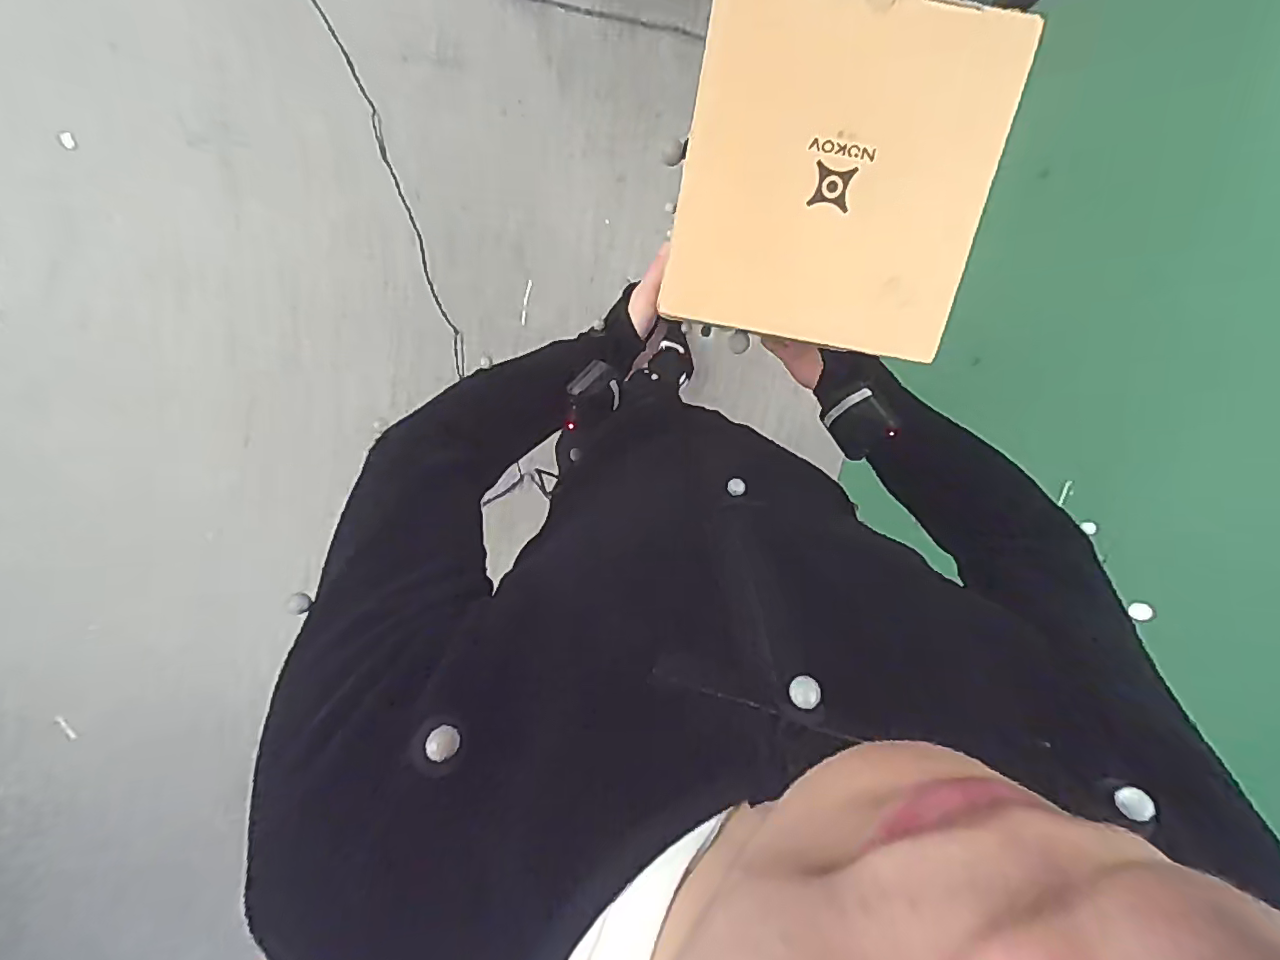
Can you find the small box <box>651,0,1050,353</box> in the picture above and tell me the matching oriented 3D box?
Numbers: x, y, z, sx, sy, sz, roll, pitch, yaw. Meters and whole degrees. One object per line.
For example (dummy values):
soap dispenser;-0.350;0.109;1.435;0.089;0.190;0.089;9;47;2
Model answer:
small box;0.107;-0.189;0.358;0.168;0.176;0.179;11;105;0
